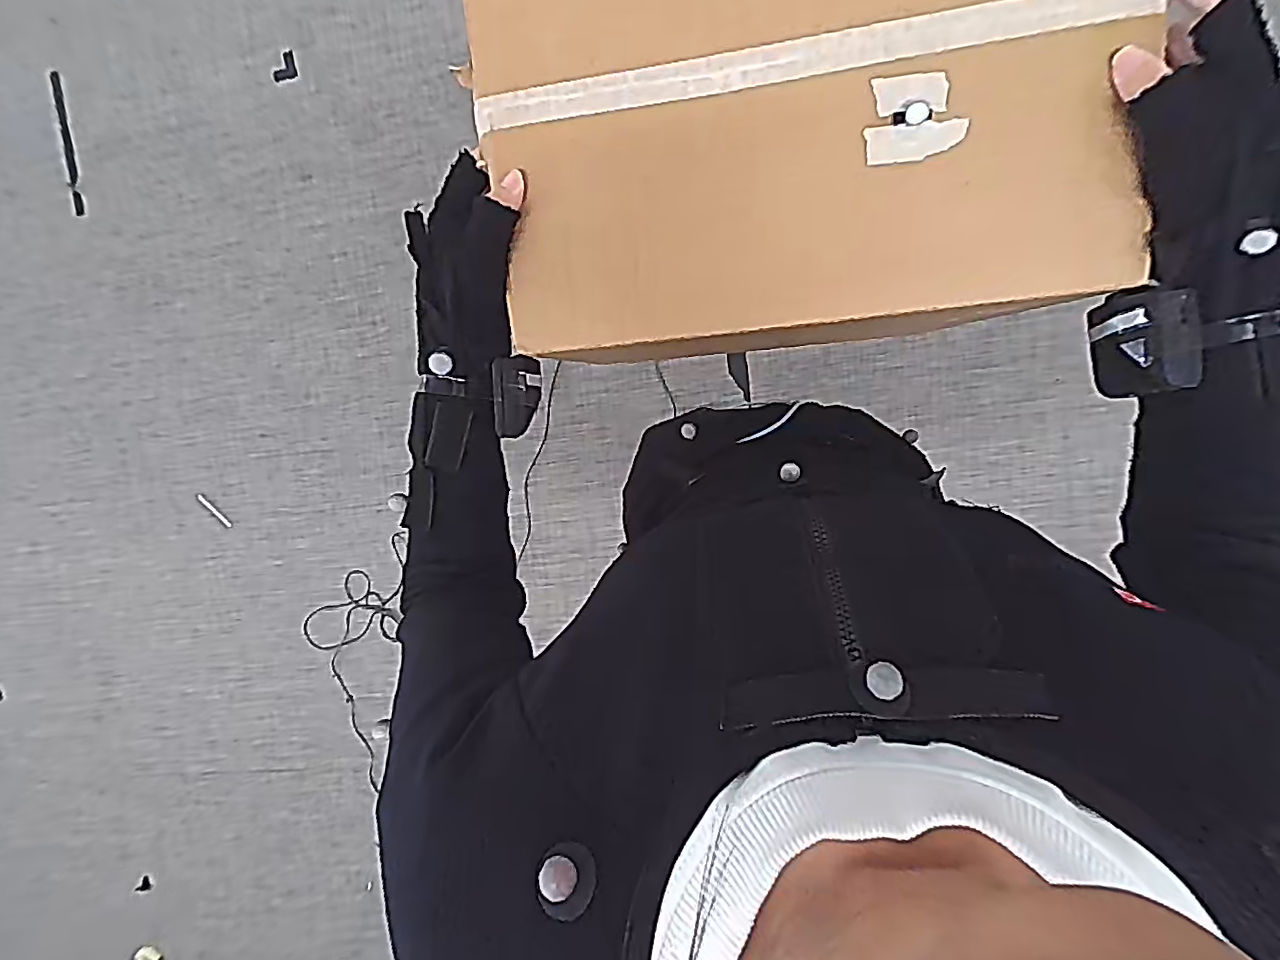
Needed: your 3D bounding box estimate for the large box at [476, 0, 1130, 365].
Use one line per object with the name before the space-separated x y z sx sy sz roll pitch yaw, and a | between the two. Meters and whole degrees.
large box | 0.110 -0.289 0.493 0.408 0.320 0.320 -5 100 7
